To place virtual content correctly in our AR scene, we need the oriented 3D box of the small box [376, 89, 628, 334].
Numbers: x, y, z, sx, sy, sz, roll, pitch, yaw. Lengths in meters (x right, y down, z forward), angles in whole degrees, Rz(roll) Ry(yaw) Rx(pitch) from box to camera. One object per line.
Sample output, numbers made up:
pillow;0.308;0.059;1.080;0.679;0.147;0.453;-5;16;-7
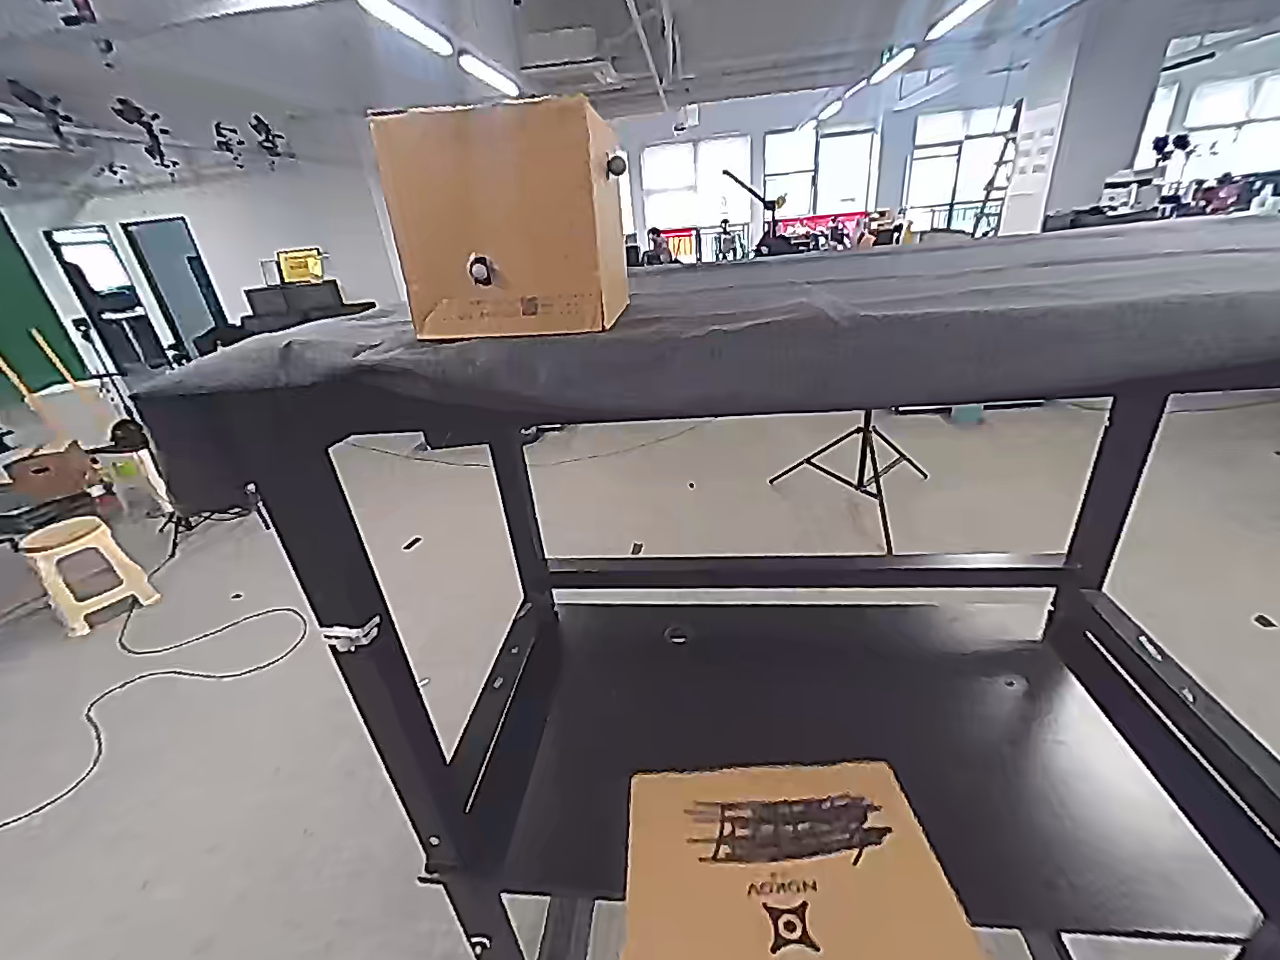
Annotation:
small box;-0.103;-0.233;0.495;0.168;0.176;0.179;-1;25;6
